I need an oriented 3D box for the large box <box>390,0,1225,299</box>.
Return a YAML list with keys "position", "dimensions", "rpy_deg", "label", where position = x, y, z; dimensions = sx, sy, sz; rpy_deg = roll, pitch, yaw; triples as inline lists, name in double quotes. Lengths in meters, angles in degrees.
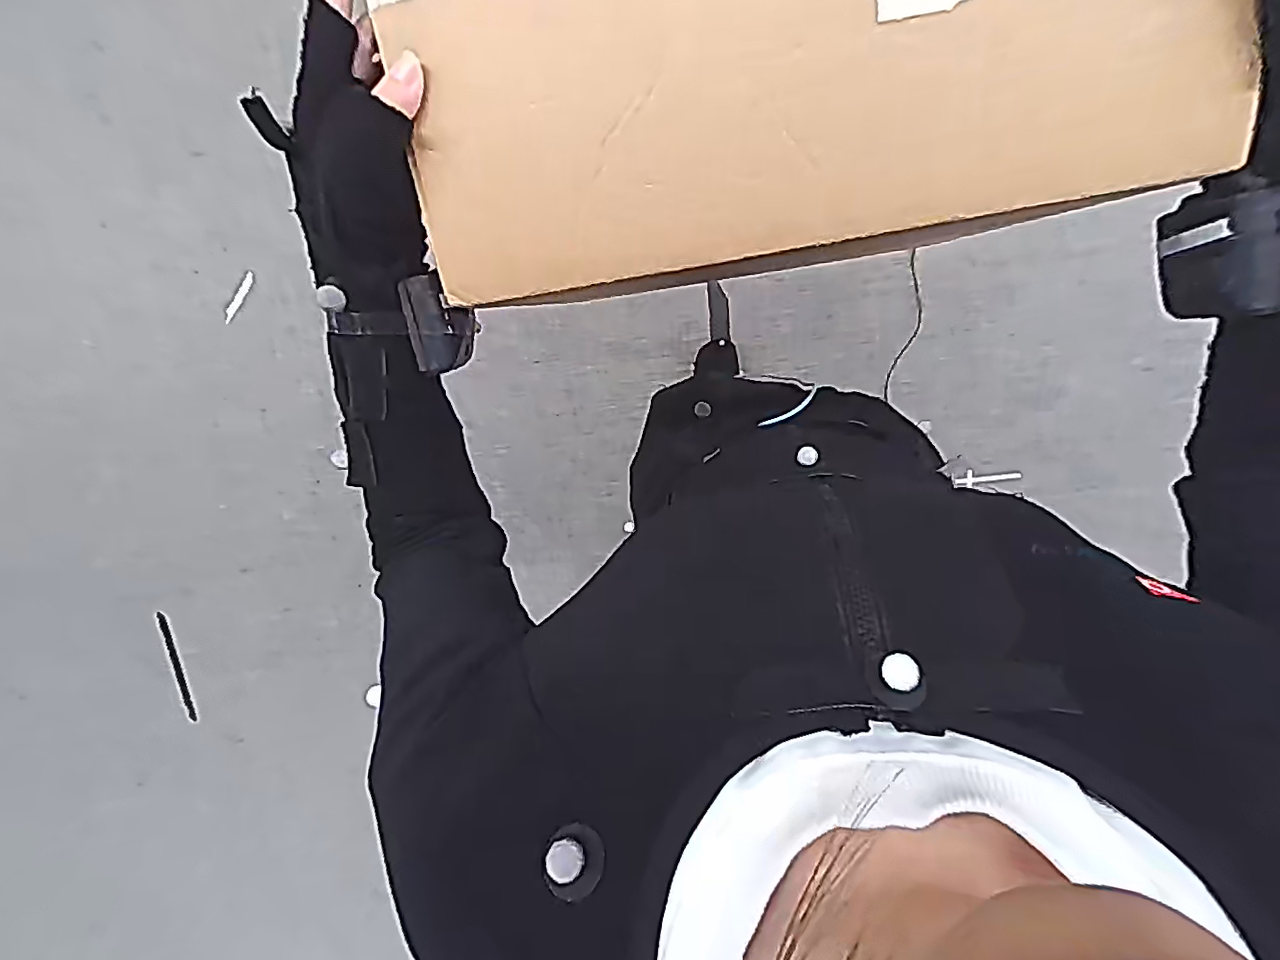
- position: [0.074, -0.327, 0.394]
  dimensions: [0.408, 0.320, 0.320]
  rpy_deg: [-7, 108, 8]
  label: "large box"
